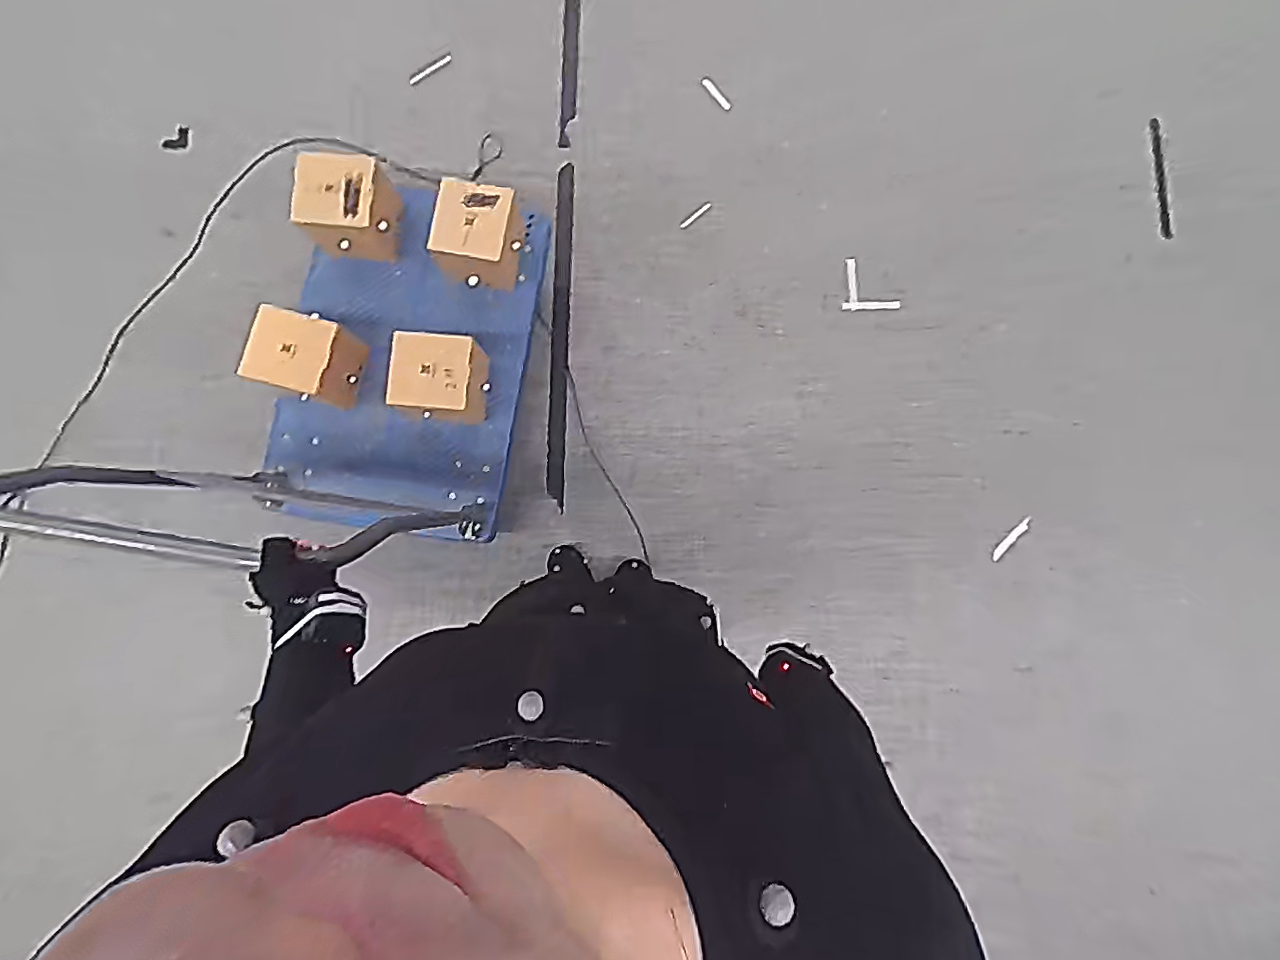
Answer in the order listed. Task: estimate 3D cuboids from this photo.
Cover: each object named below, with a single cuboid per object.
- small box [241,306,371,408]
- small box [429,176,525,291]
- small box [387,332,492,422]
[{"bbox_3d":[-0.765,-0.276,1.256,0.179,0.176,0.168,14,84,-3],"label":"small box"},{"bbox_3d":[-0.380,-0.582,1.296,0.168,0.176,0.179,10,86,-1],"label":"small box"},{"bbox_3d":[-0.460,-0.233,1.264,0.179,0.176,0.168,4,85,-2],"label":"small box"}]
